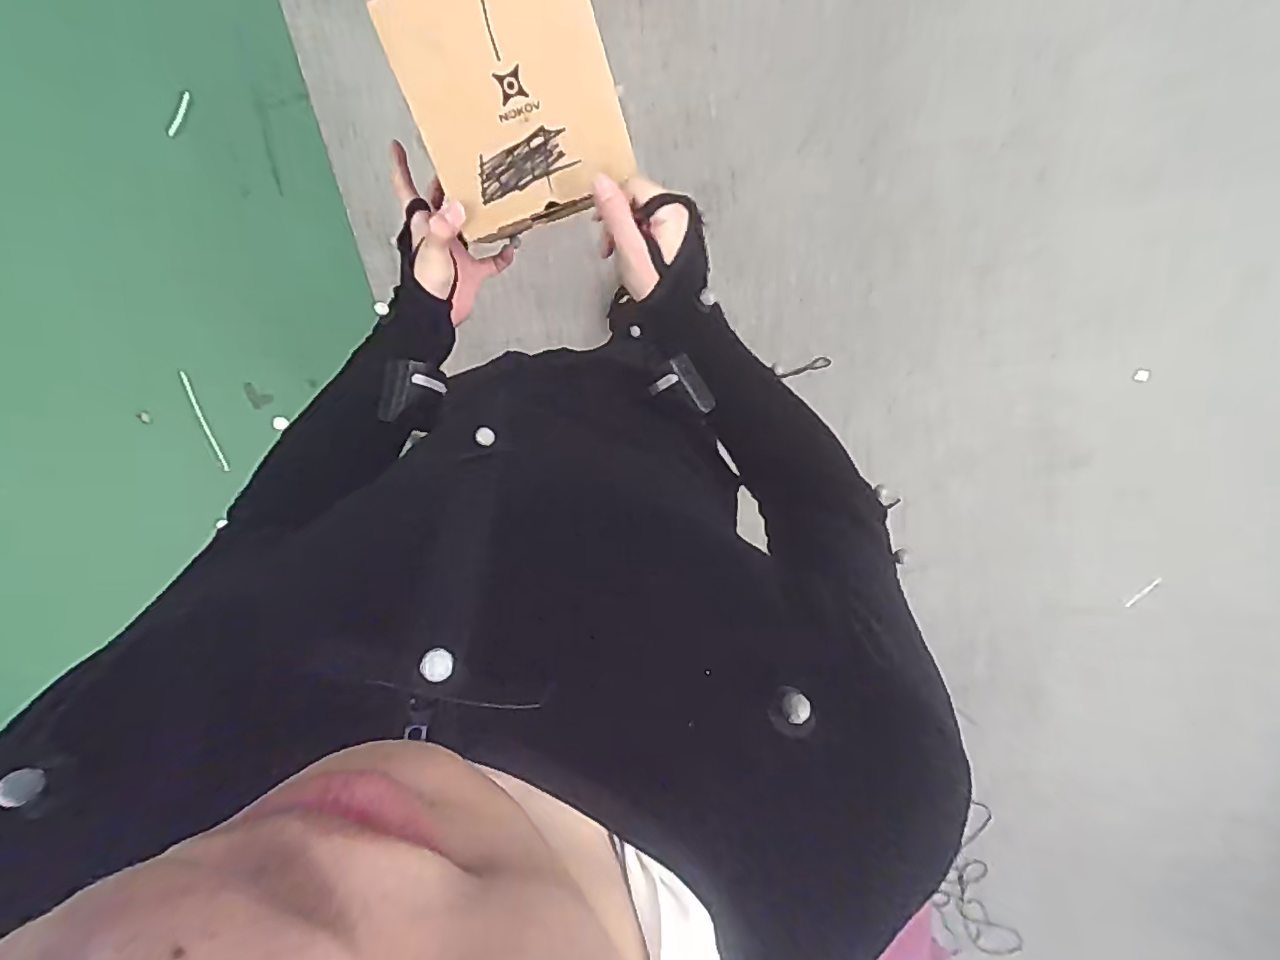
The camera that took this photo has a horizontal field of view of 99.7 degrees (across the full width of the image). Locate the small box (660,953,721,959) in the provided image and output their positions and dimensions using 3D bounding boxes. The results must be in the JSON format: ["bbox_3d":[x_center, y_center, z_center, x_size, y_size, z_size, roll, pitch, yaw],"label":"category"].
[{"bbox_3d":[0.138,1.310,1.322,0.168,0.176,0.179,-12,110,6],"label":"small box"}]

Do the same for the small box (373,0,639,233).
[{"bbox_3d":[-0.110,-0.346,0.504,0.168,0.176,0.179,-19,114,-1],"label":"small box"}]
